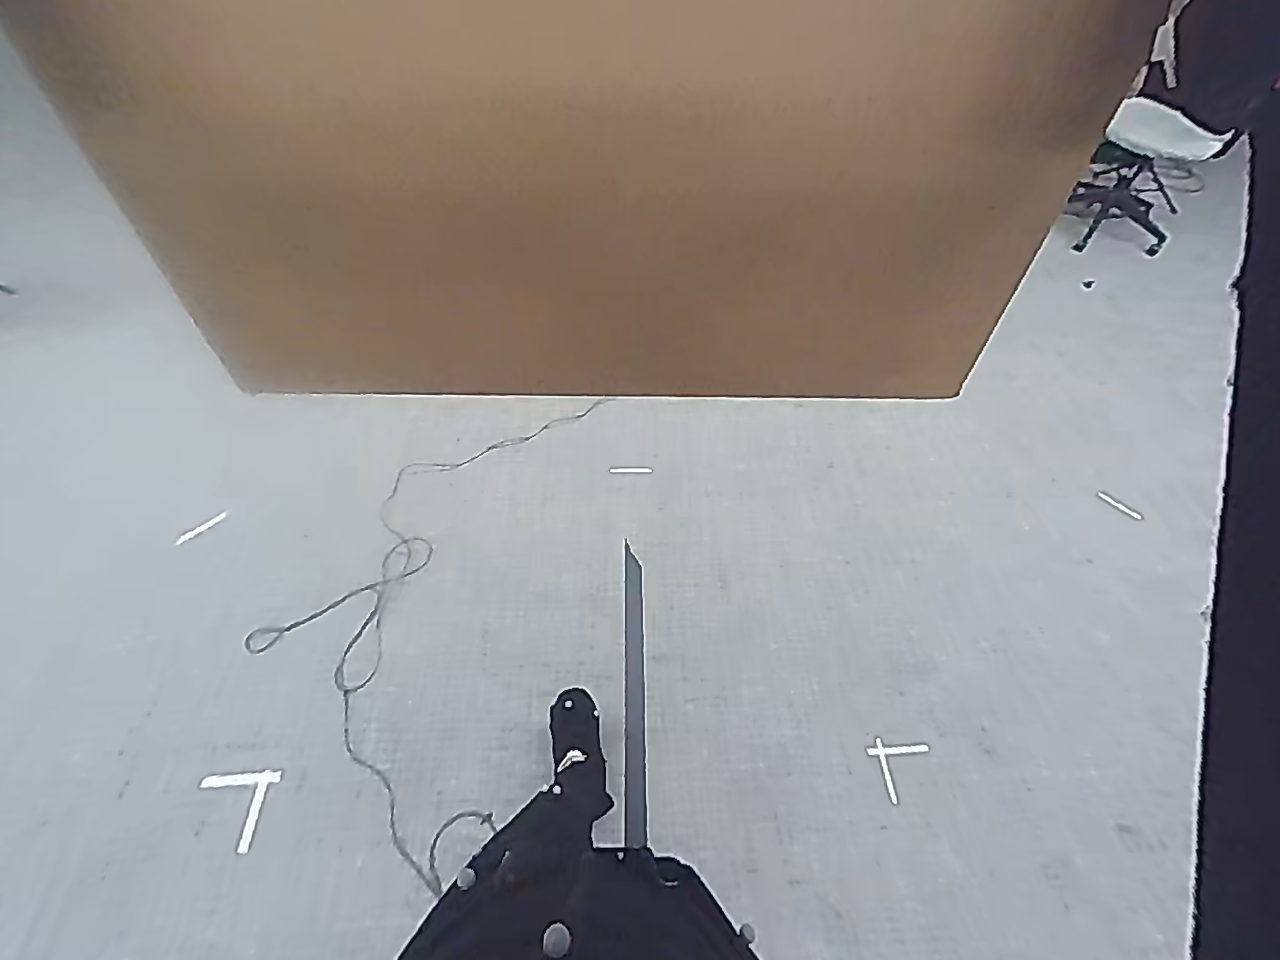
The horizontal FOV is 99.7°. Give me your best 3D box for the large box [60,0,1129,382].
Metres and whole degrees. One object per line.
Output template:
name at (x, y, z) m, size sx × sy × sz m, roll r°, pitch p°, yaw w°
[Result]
large box at (-0.018, -0.268, 0.314) m, size 0.408 × 0.320 × 0.320 m, roll 1°, pitch 47°, yaw -2°
